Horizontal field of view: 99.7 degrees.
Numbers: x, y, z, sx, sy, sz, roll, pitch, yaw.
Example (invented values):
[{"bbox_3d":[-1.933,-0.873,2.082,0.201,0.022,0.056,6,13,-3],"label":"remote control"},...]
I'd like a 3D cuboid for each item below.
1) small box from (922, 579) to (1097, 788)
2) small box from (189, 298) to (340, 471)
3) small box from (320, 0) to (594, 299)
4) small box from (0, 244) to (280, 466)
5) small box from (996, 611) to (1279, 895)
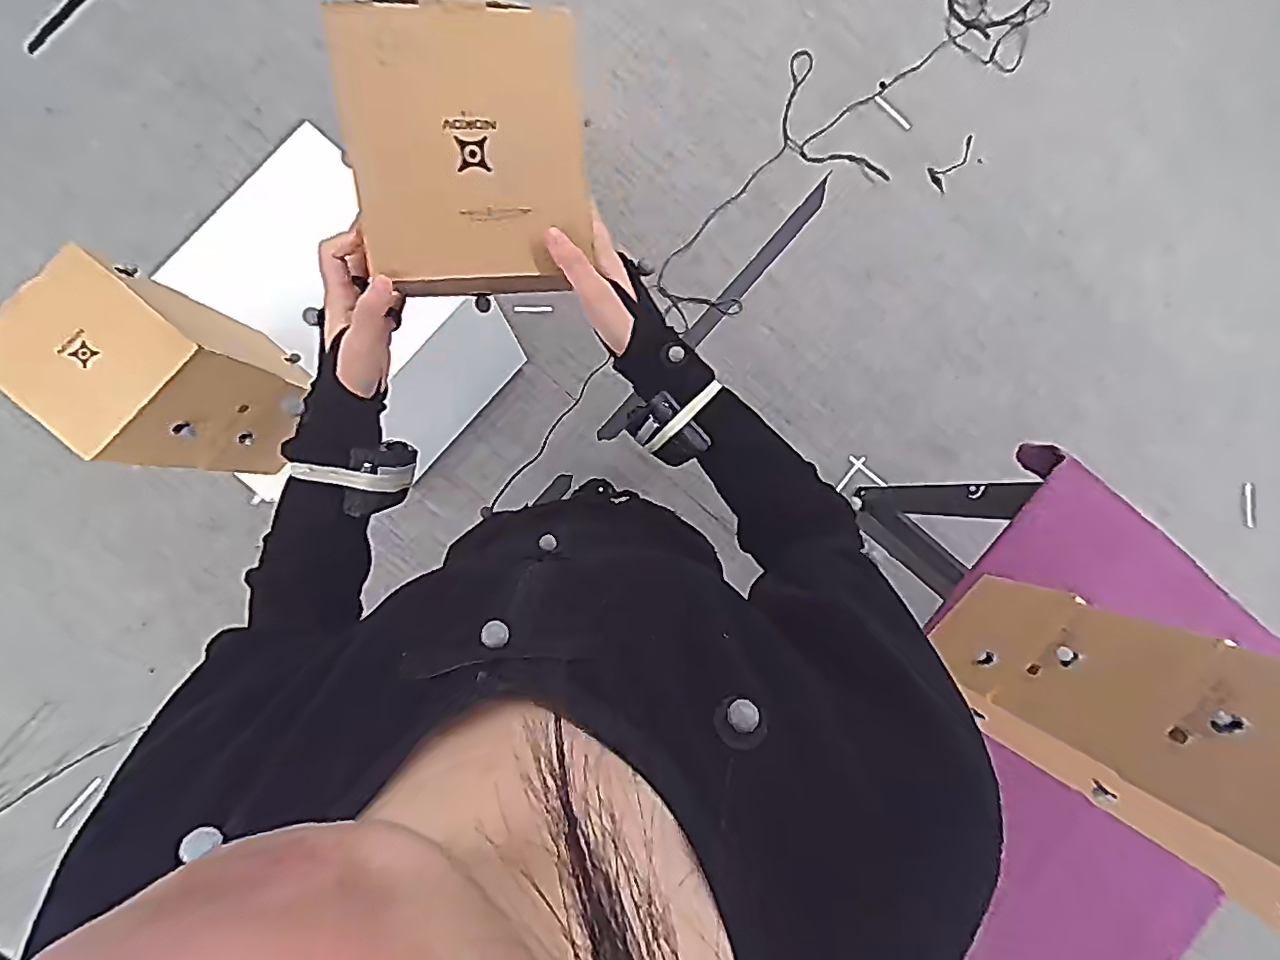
[{"bbox_3d":[0.524,0.259,0.735,0.168,0.176,0.179,45,86,-2],"label":"small box"},{"bbox_3d":[-0.600,-0.127,0.805,0.179,0.176,0.168,42,86,-1],"label":"small box"},{"bbox_3d":[-0.137,-0.252,0.451,0.168,0.176,0.179,-7,106,-11],"label":"small box"},{"bbox_3d":[-0.586,-0.131,0.642,0.179,0.176,0.168,40,86,-2],"label":"small box"},{"bbox_3d":[0.540,0.263,0.572,0.179,0.176,0.168,44,86,-1],"label":"small box"}]
